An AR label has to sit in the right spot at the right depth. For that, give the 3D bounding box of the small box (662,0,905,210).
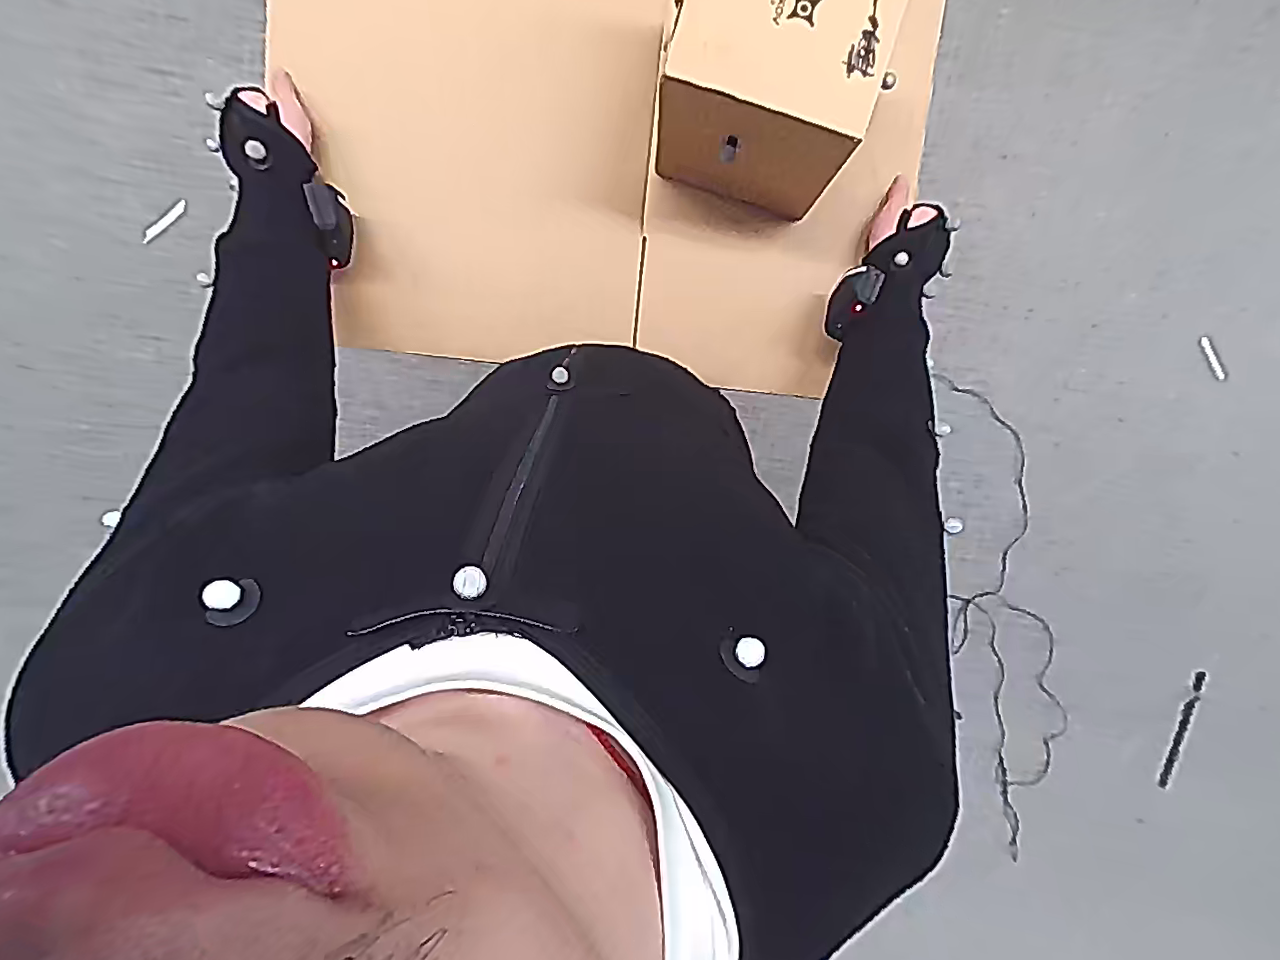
[{"bbox_3d":[0.125,-0.390,0.521,0.179,0.176,0.168,17,95,-1],"label":"small box"}]
